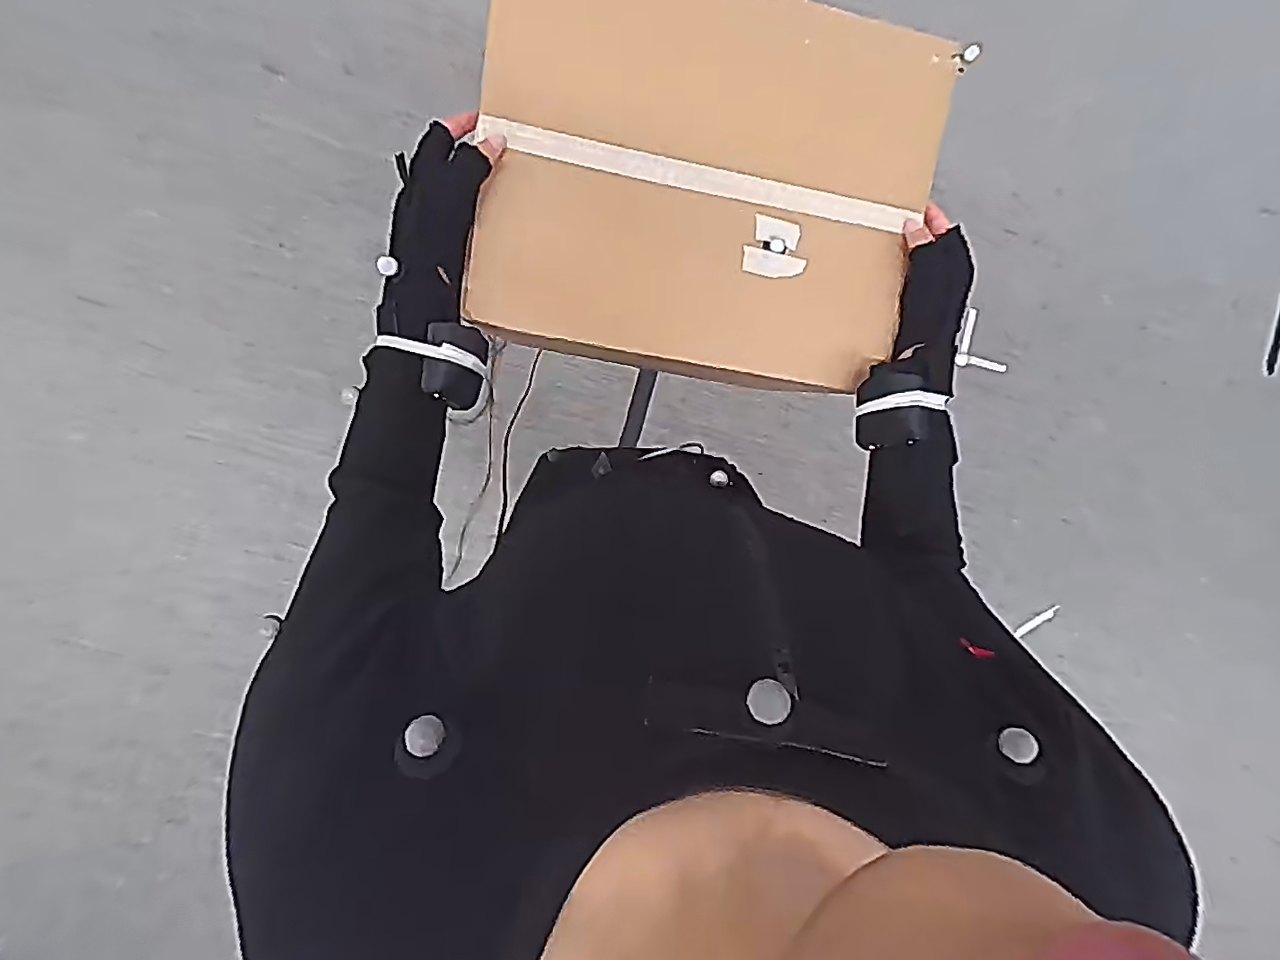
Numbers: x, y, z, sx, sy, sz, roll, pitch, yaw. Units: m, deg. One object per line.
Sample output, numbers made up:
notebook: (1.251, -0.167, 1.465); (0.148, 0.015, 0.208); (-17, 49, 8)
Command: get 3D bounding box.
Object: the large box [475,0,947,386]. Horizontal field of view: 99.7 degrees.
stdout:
large box: (0.046, -0.295, 0.634); (0.408, 0.320, 0.320); (8, 101, -9)
